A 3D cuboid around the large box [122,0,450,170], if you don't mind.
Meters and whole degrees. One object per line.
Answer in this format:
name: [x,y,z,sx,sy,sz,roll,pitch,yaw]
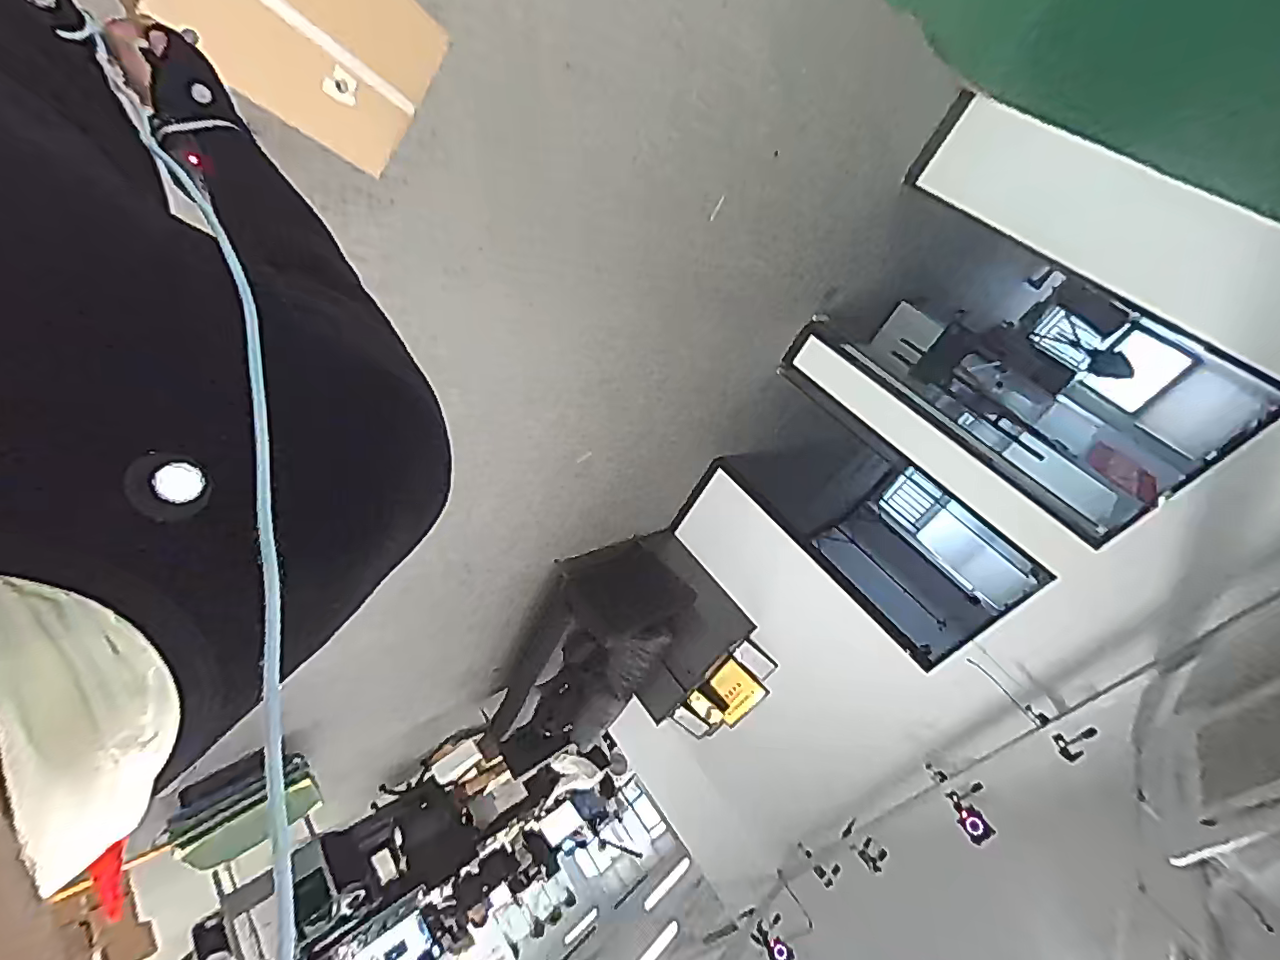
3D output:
large box: [-0.652,-0.877,0.991,0.320,0.320,0.408,-50,154,17]
